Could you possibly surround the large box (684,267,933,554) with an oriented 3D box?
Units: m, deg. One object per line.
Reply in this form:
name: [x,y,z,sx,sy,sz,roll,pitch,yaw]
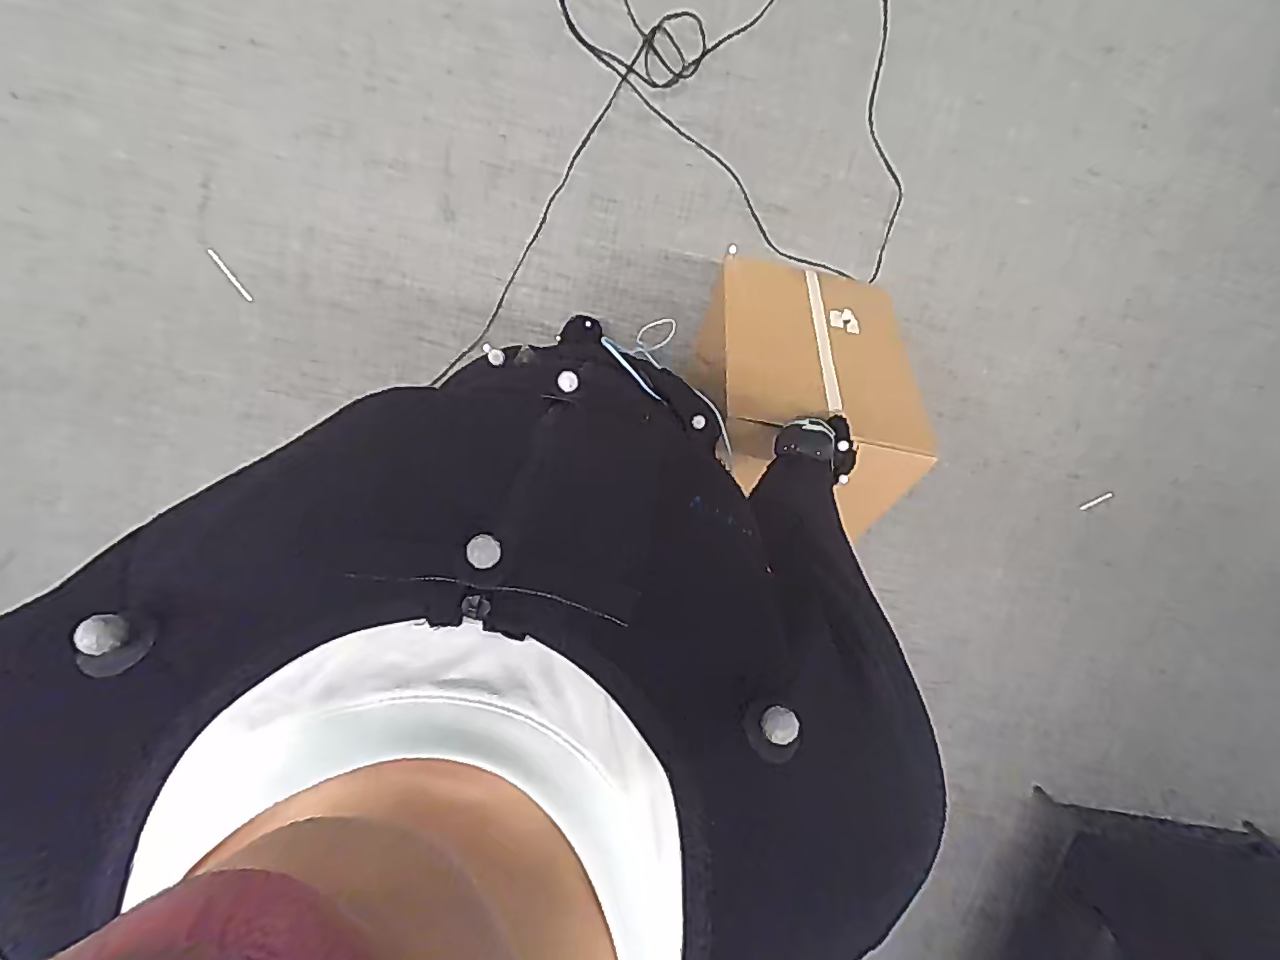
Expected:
large box: [0.265,-0.122,0.996,0.320,0.408,0.320,10,143,-4]
